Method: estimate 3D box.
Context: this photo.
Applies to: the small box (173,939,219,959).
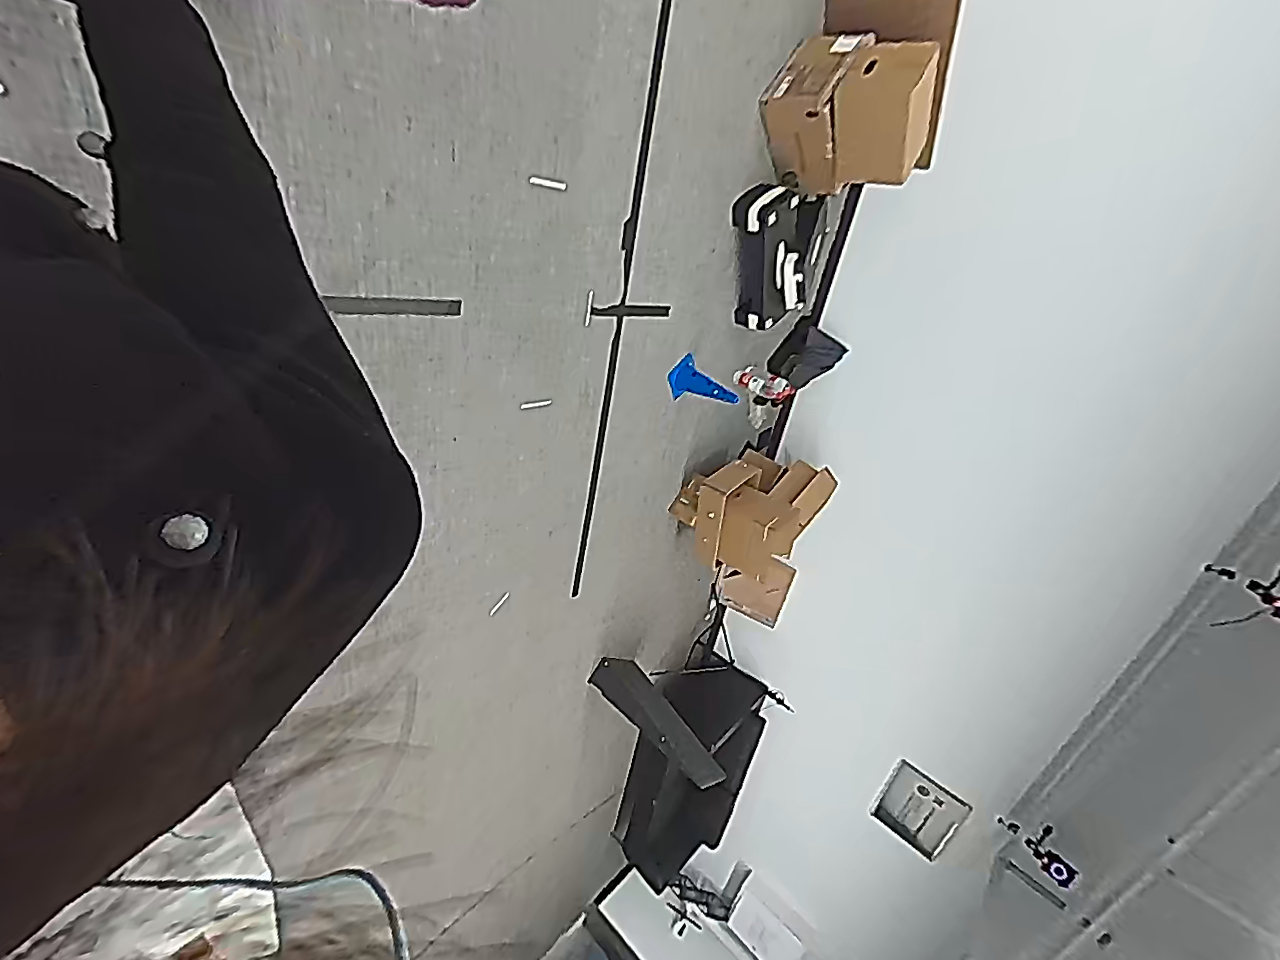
[{"bbox_3d":[-1.086,1.250,1.275,0.179,0.176,0.168,-24,133,-43],"label":"small box"}]
